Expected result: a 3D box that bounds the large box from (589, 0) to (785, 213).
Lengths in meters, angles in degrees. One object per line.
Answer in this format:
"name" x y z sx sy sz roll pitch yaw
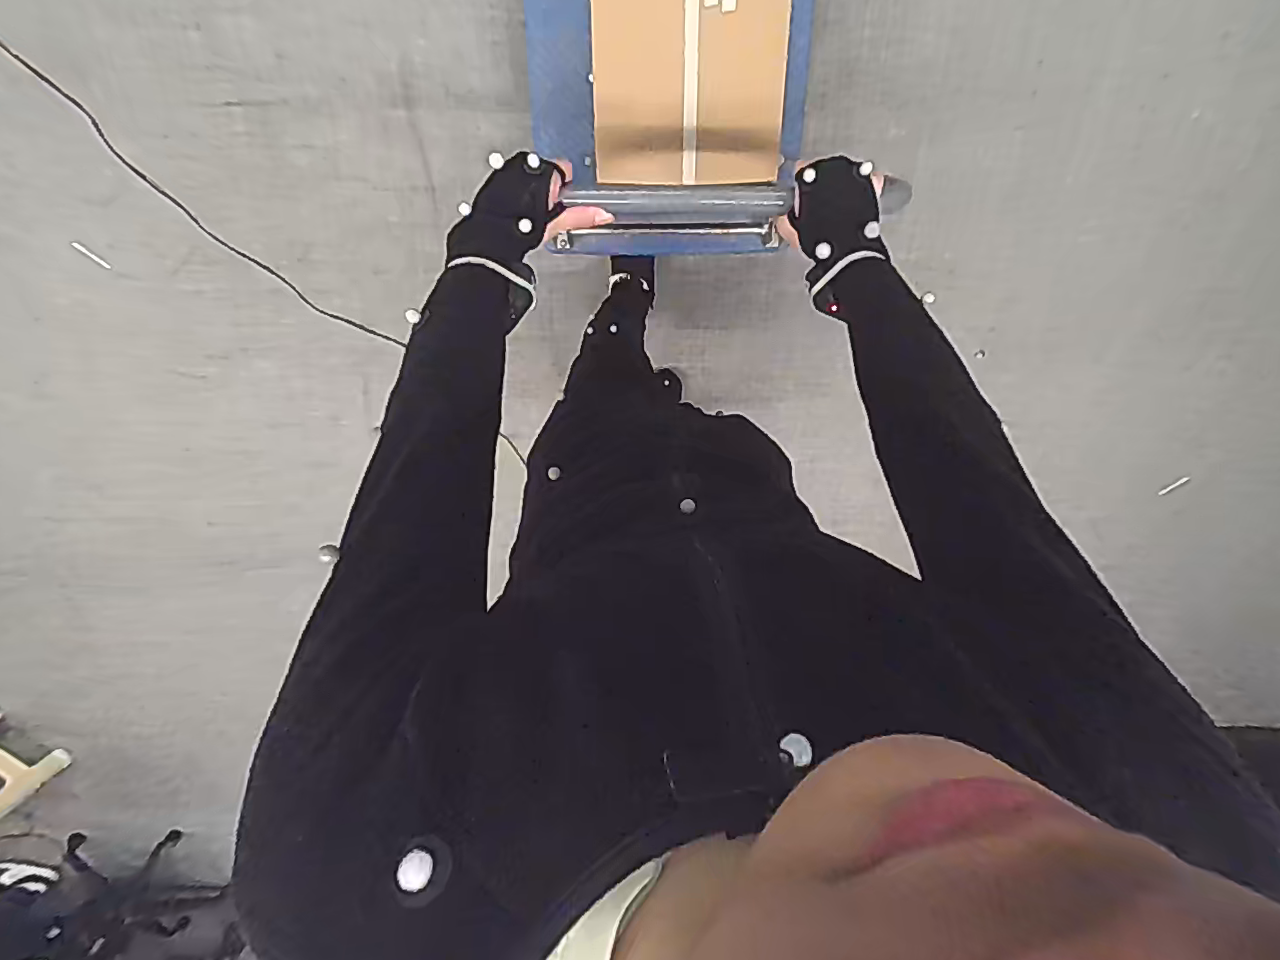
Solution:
"large box" 0.077 -0.742 1.017 0.320 0.320 0.408 -1 111 0
